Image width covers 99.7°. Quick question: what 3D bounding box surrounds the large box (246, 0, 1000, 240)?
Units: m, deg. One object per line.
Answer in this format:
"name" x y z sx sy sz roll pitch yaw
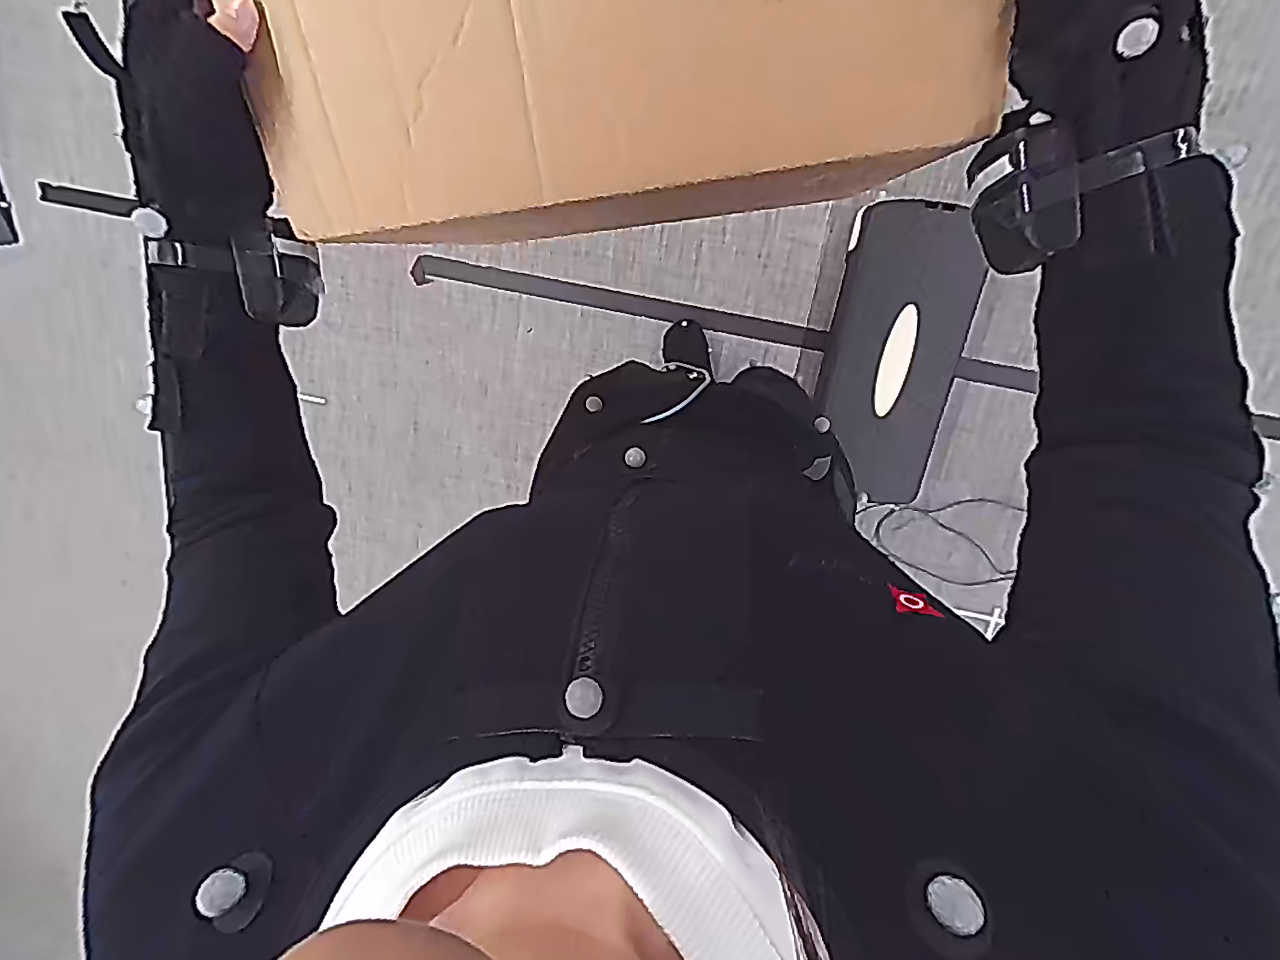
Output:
"large box" -0.014 -0.375 0.397 0.408 0.320 0.320 -4 113 9
